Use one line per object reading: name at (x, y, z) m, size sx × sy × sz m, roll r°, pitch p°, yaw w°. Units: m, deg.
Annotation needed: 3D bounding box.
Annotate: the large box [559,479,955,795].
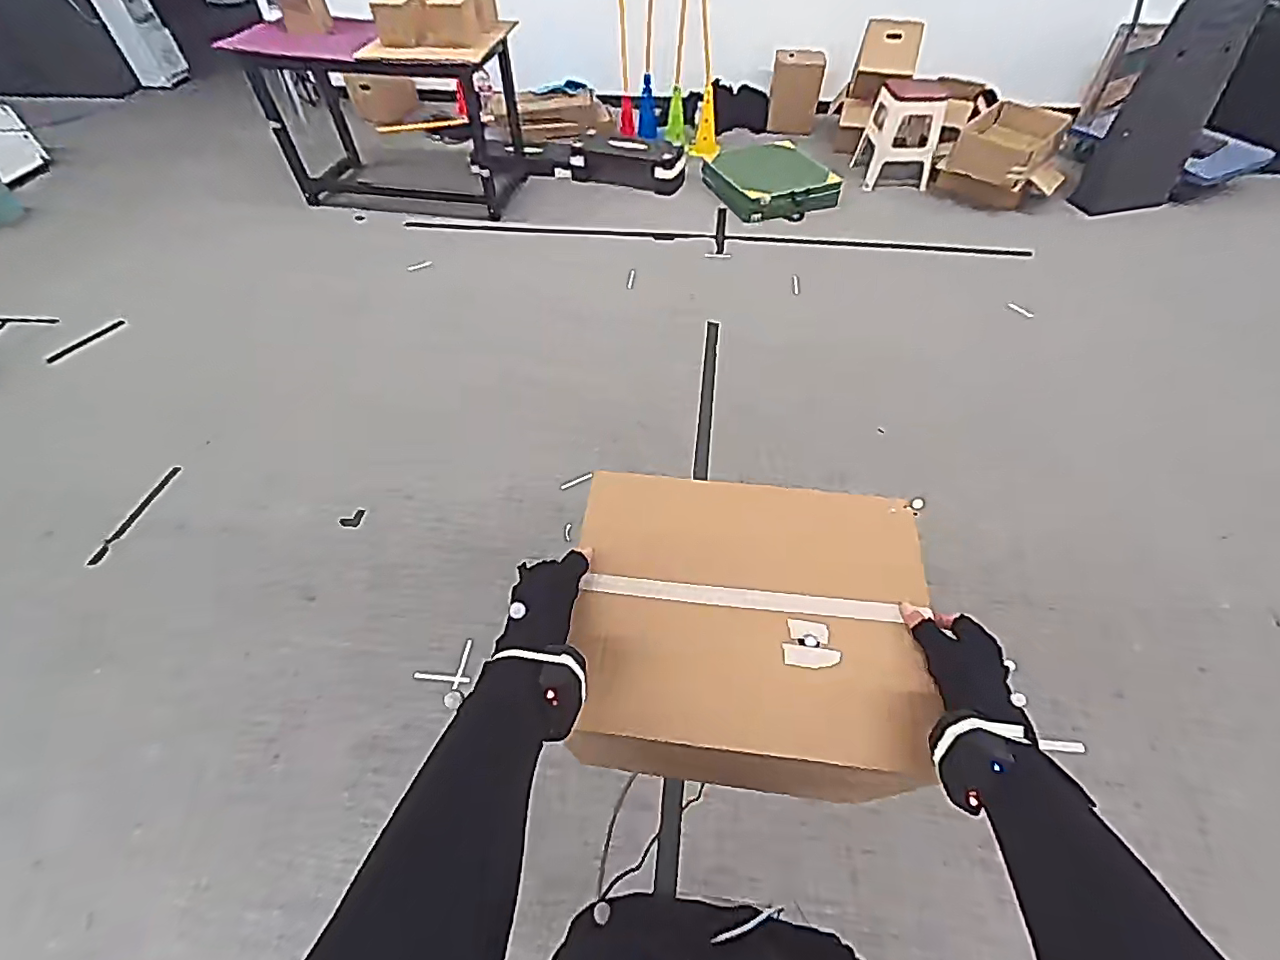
large box at (0.129, 0.223, 0.744) m, size 0.408 × 0.320 × 0.320 m, roll 5°, pitch 57°, yaw 5°
